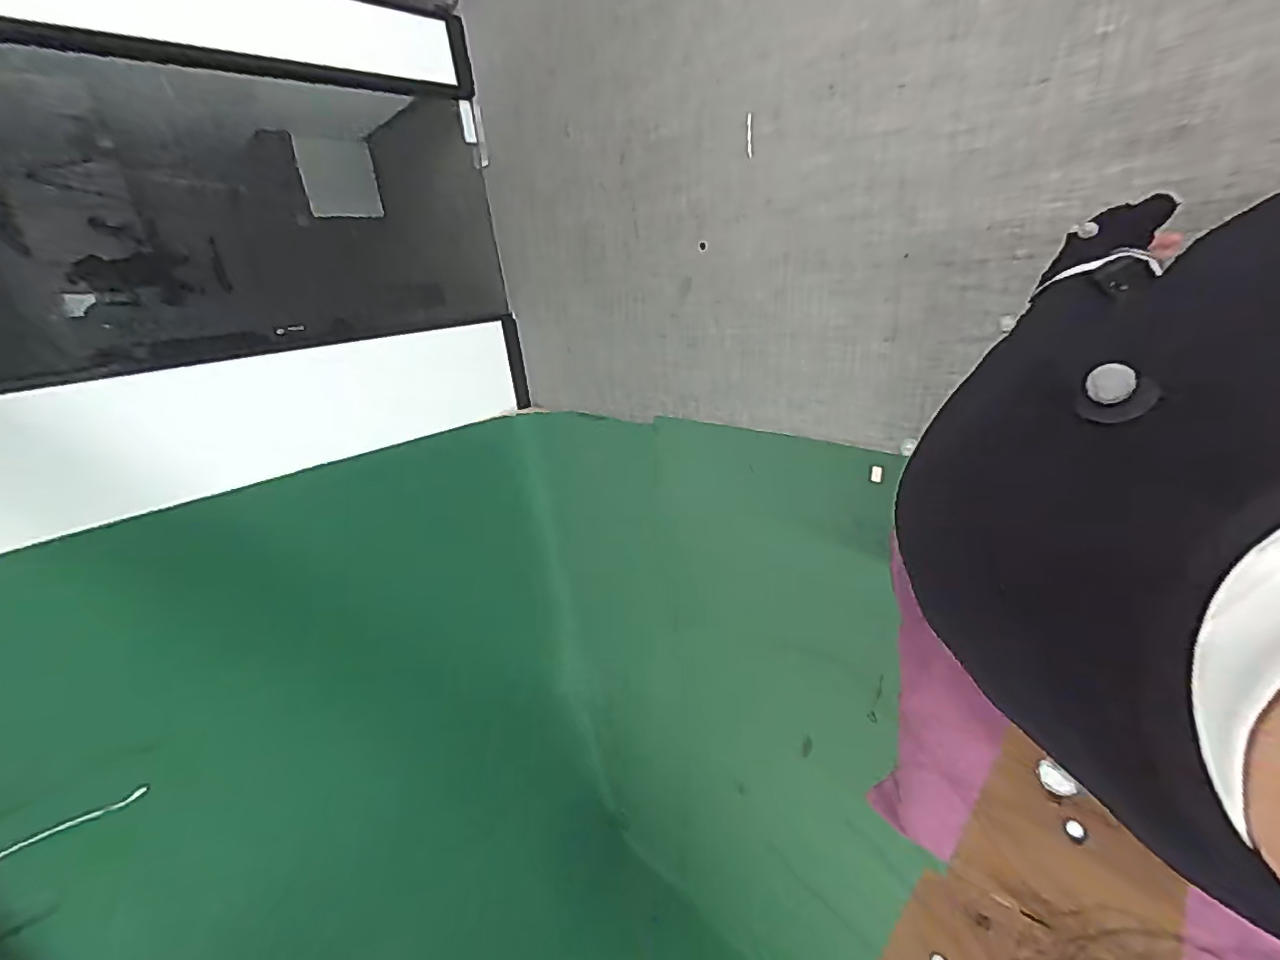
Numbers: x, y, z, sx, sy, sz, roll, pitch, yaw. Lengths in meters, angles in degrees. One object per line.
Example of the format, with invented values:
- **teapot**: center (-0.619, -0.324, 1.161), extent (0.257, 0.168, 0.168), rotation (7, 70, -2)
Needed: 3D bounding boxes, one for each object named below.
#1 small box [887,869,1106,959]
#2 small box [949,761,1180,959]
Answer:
- **small box**: center (0.323, 0.504, 0.477), extent (0.168, 0.176, 0.179), rotation (-3, 107, 50)
- **small box**: center (0.443, 0.450, 0.574), extent (0.168, 0.176, 0.179), rotation (11, 117, 45)
